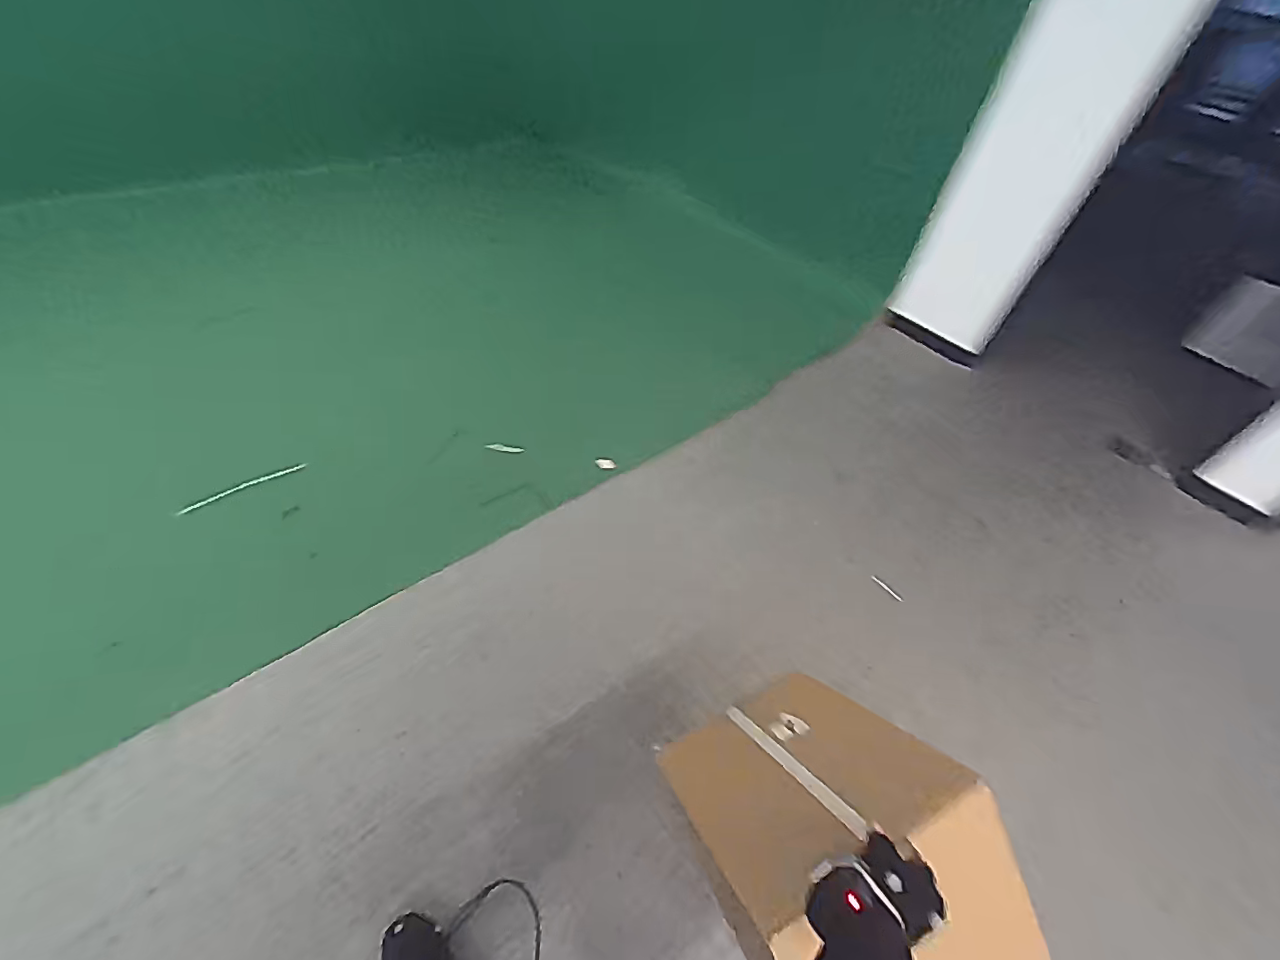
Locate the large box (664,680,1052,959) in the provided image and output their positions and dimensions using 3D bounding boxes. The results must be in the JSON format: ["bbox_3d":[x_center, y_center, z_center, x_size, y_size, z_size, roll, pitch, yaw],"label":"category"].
[{"bbox_3d":[0.284,0.563,0.801,0.320,0.408,0.320,-22,93,-14],"label":"large box"}]
